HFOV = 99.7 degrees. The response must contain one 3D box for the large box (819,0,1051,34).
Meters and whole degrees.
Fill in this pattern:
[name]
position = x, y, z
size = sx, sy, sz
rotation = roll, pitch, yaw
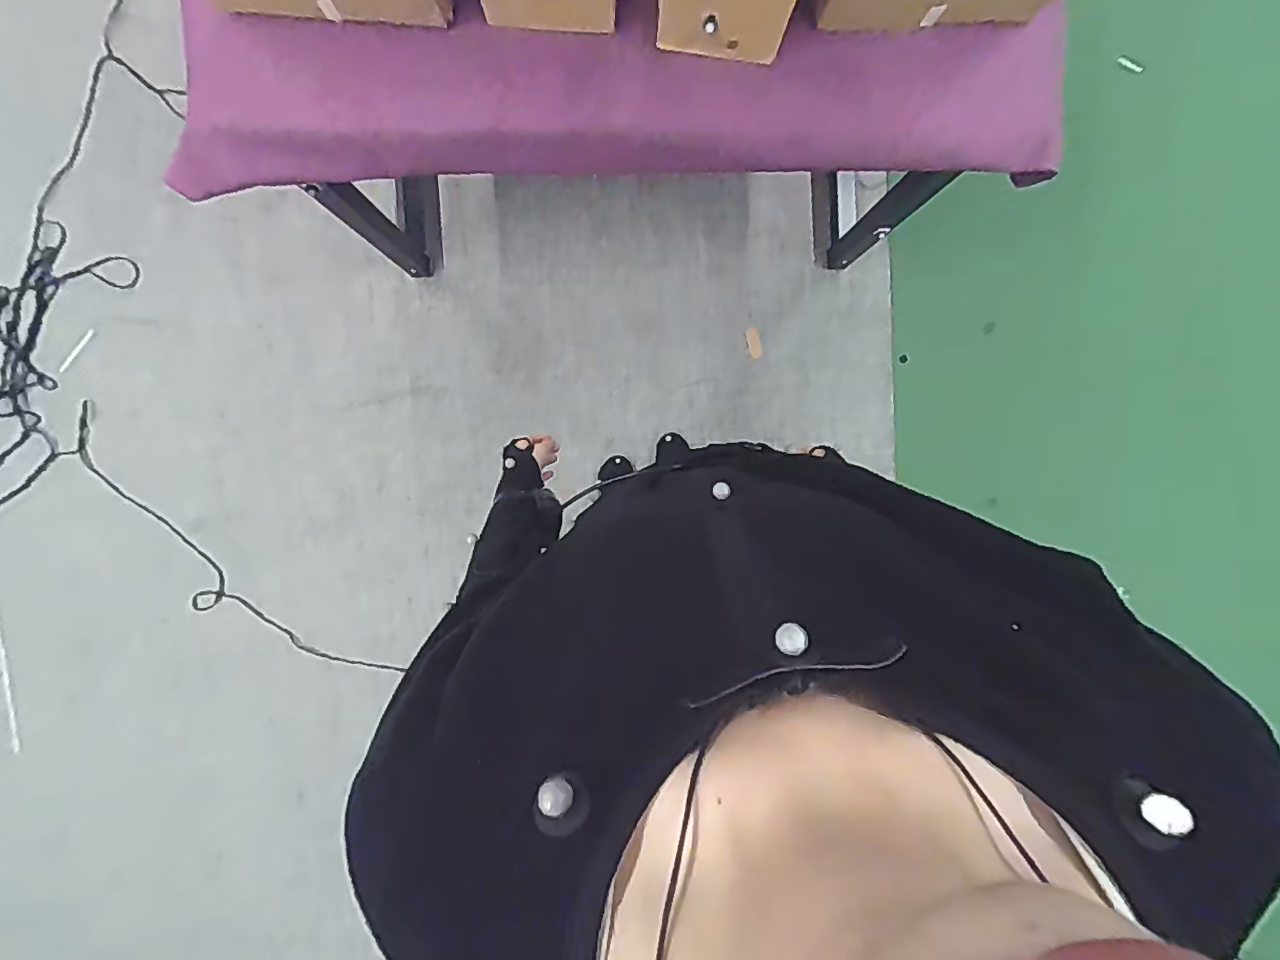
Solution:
[large box]
position = 0.389, -0.819, 0.596
size = 0.320, 0.320, 0.408
rotation = -3, 94, 1
